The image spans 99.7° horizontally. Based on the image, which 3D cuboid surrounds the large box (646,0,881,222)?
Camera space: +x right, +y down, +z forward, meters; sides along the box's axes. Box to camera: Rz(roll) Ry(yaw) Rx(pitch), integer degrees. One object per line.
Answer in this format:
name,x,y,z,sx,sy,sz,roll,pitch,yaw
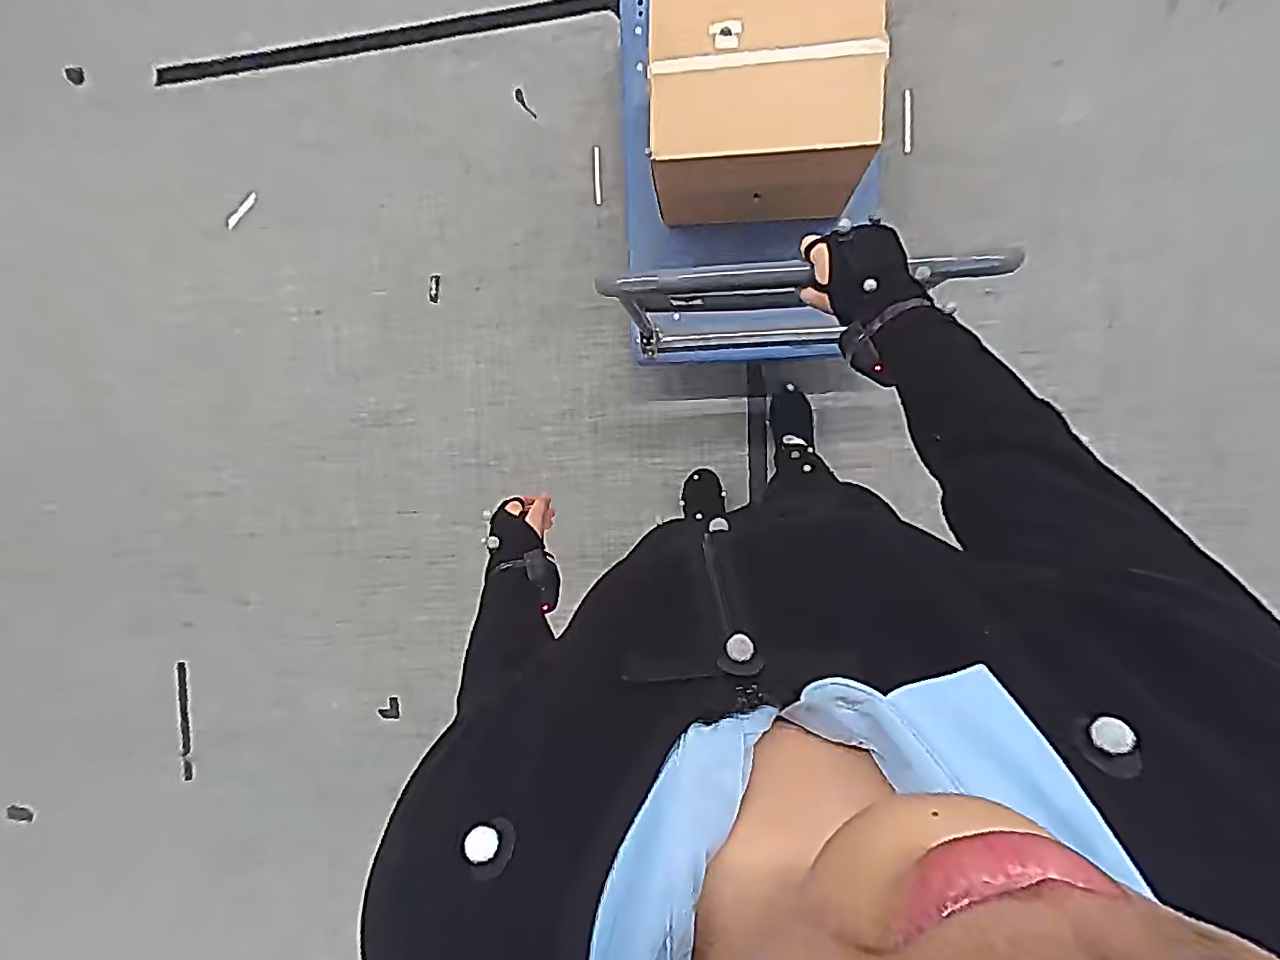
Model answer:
large box,0.233,-0.743,1.082,0.408,0.320,0.320,0,93,9
